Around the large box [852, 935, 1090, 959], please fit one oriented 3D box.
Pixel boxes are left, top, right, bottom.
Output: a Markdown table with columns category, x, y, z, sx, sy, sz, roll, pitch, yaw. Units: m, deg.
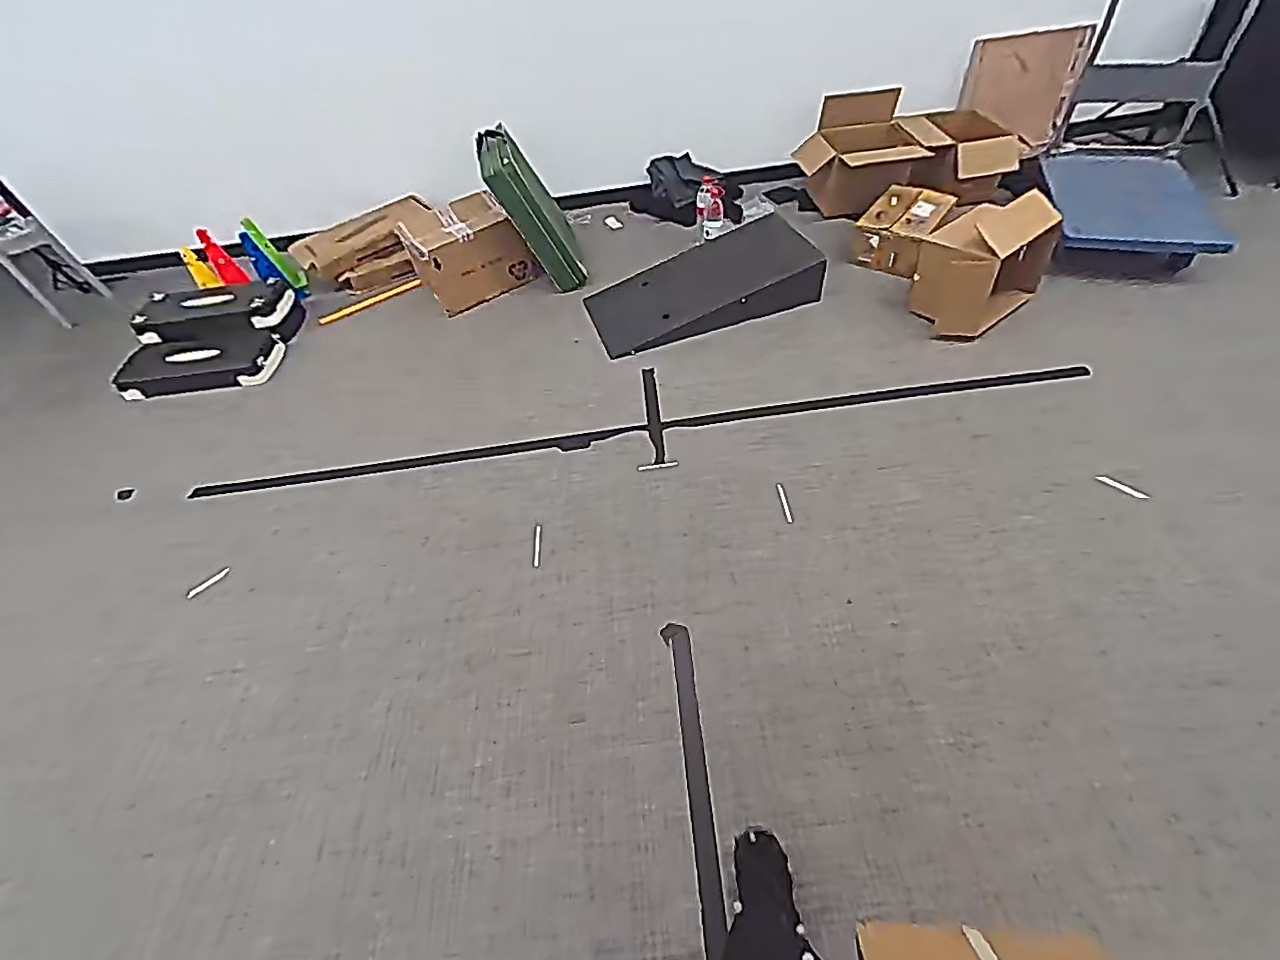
| category | x | y | z | sx | sy | sz | roll | pitch | yaw |
| --- | --- | --- | --- | --- | --- | --- | --- | --- | --- |
| large box | 0.438 | 0.772 | 0.553 | 0.320 | 0.408 | 0.320 | -3 | 79 | 9 |
